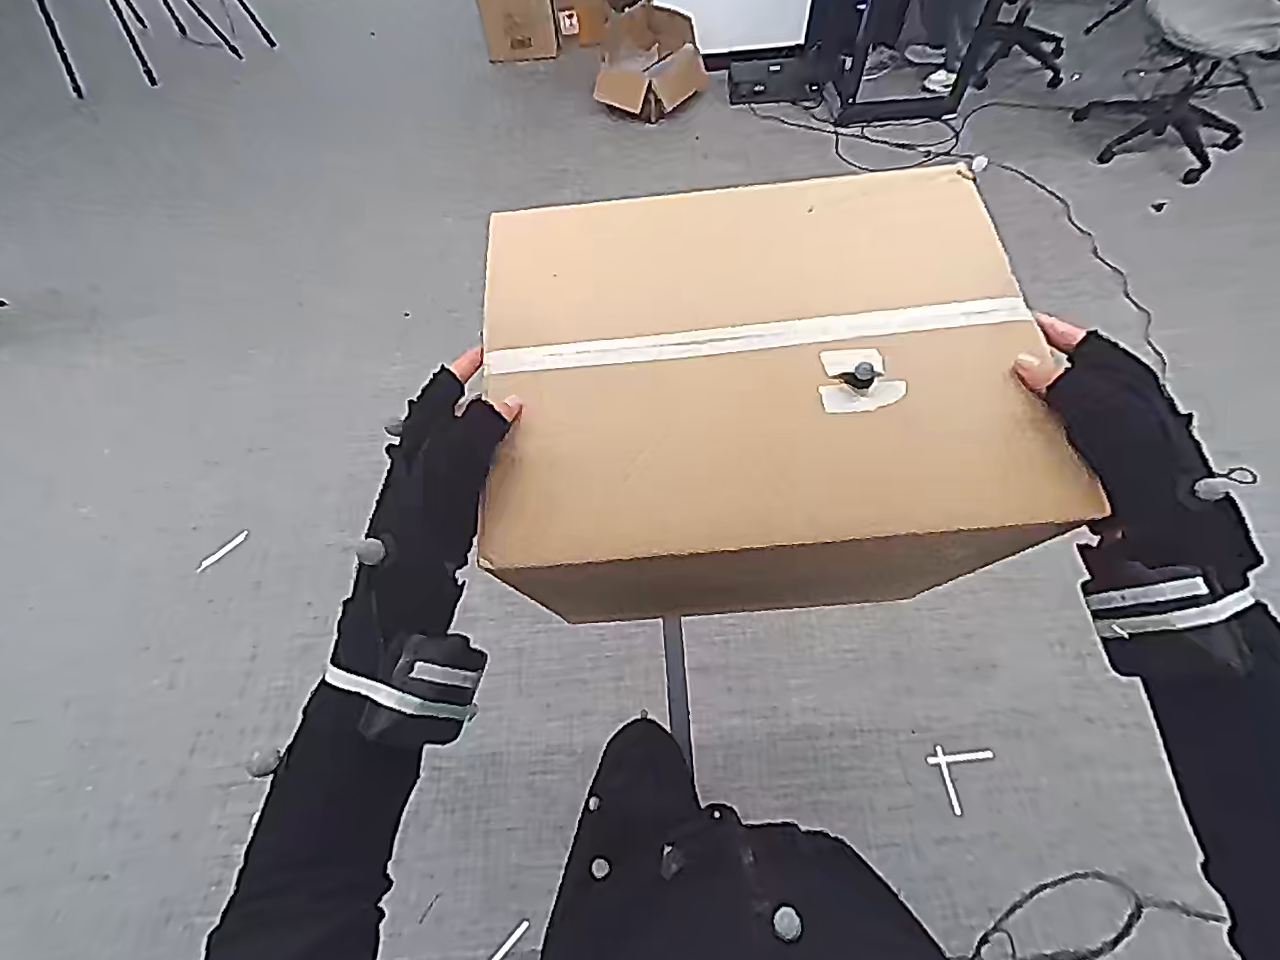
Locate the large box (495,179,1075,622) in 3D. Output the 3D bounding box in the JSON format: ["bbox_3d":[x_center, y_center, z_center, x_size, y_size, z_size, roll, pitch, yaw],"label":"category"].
[{"bbox_3d":[0.090,-0.047,0.557,0.408,0.320,0.320,-6,69,1],"label":"large box"}]
